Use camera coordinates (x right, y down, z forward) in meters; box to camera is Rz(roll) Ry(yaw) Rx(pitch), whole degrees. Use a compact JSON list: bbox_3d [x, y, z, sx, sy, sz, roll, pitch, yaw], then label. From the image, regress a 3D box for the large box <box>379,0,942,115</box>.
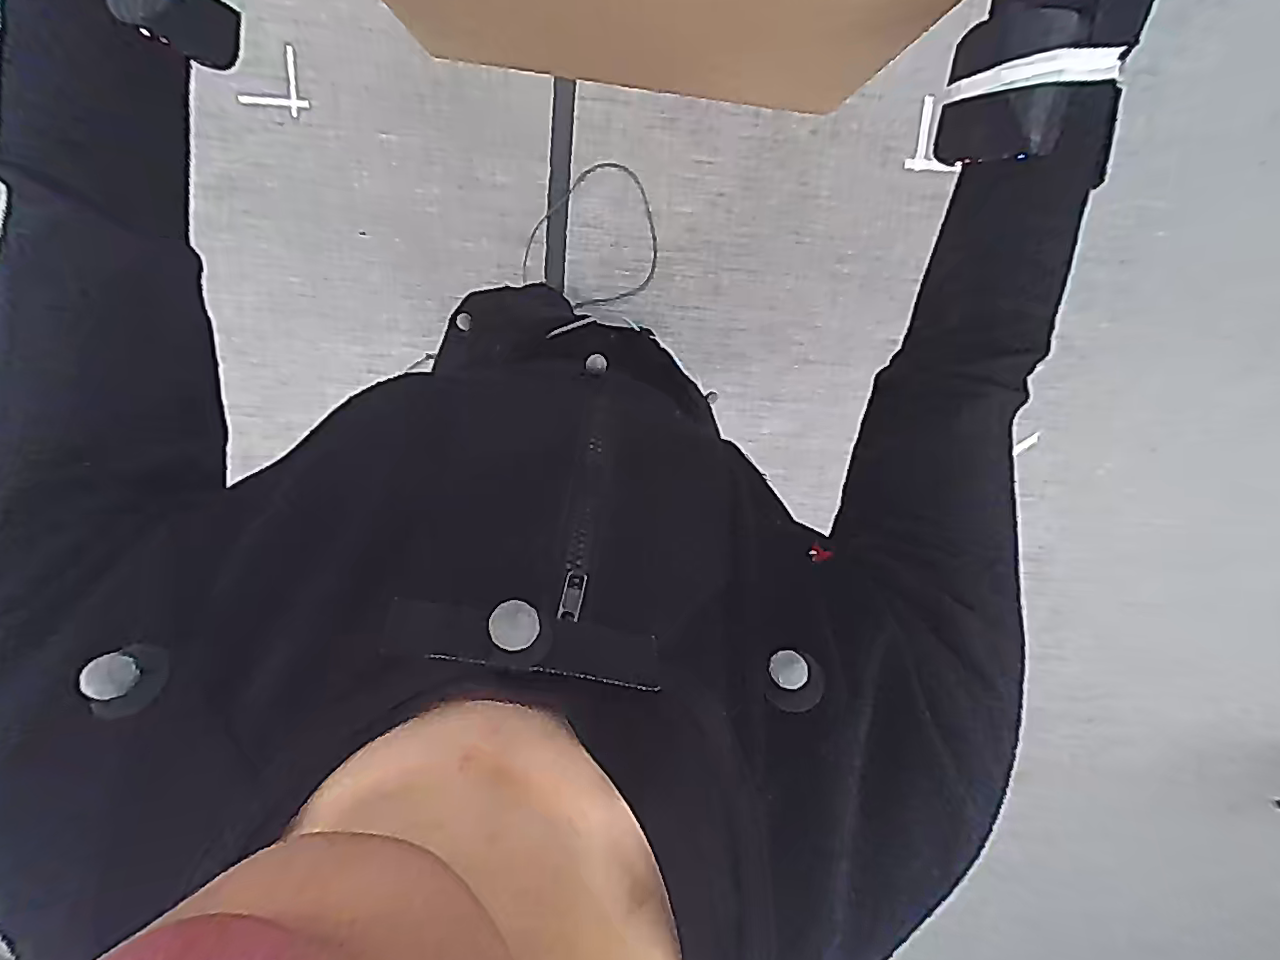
[{"bbox_3d":[0.009,-0.485,0.360,0.408,0.320,0.320,6,110,-4],"label":"large box"}]
